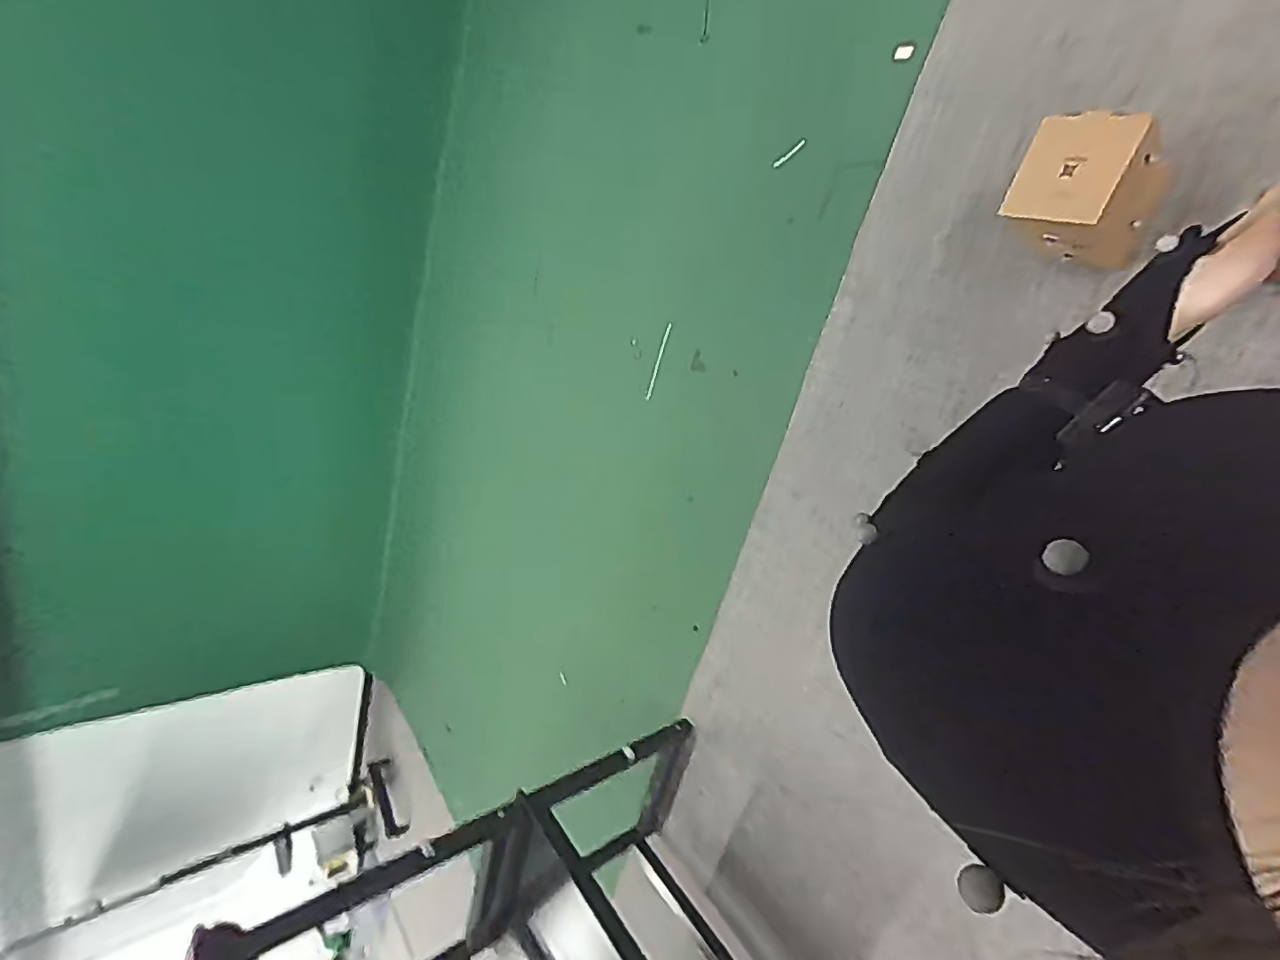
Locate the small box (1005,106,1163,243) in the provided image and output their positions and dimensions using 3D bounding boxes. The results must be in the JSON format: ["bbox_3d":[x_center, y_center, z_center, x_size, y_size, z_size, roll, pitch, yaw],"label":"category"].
[{"bbox_3d":[0.835,-0.568,1.016,0.168,0.176,0.179,35,117,42],"label":"small box"}]

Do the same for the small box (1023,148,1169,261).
[{"bbox_3d":[0.953,-0.576,1.128,0.168,0.176,0.179,39,119,39],"label":"small box"}]
